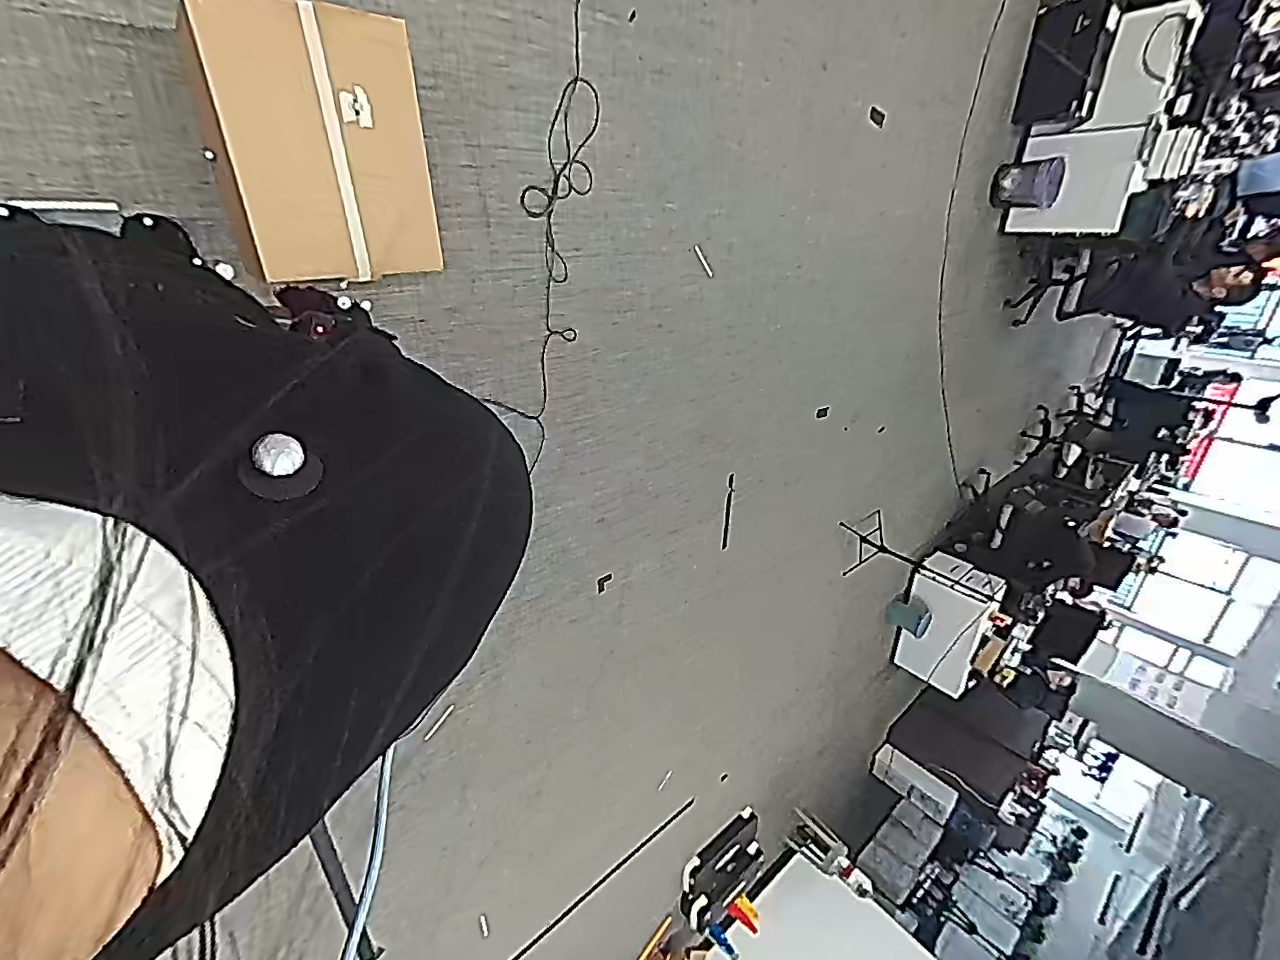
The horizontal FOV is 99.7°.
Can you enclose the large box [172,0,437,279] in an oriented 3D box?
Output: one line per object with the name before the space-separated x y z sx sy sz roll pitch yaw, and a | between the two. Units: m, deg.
large box | -0.631 -0.618 1.040 0.320 0.320 0.408 -21 122 -36
